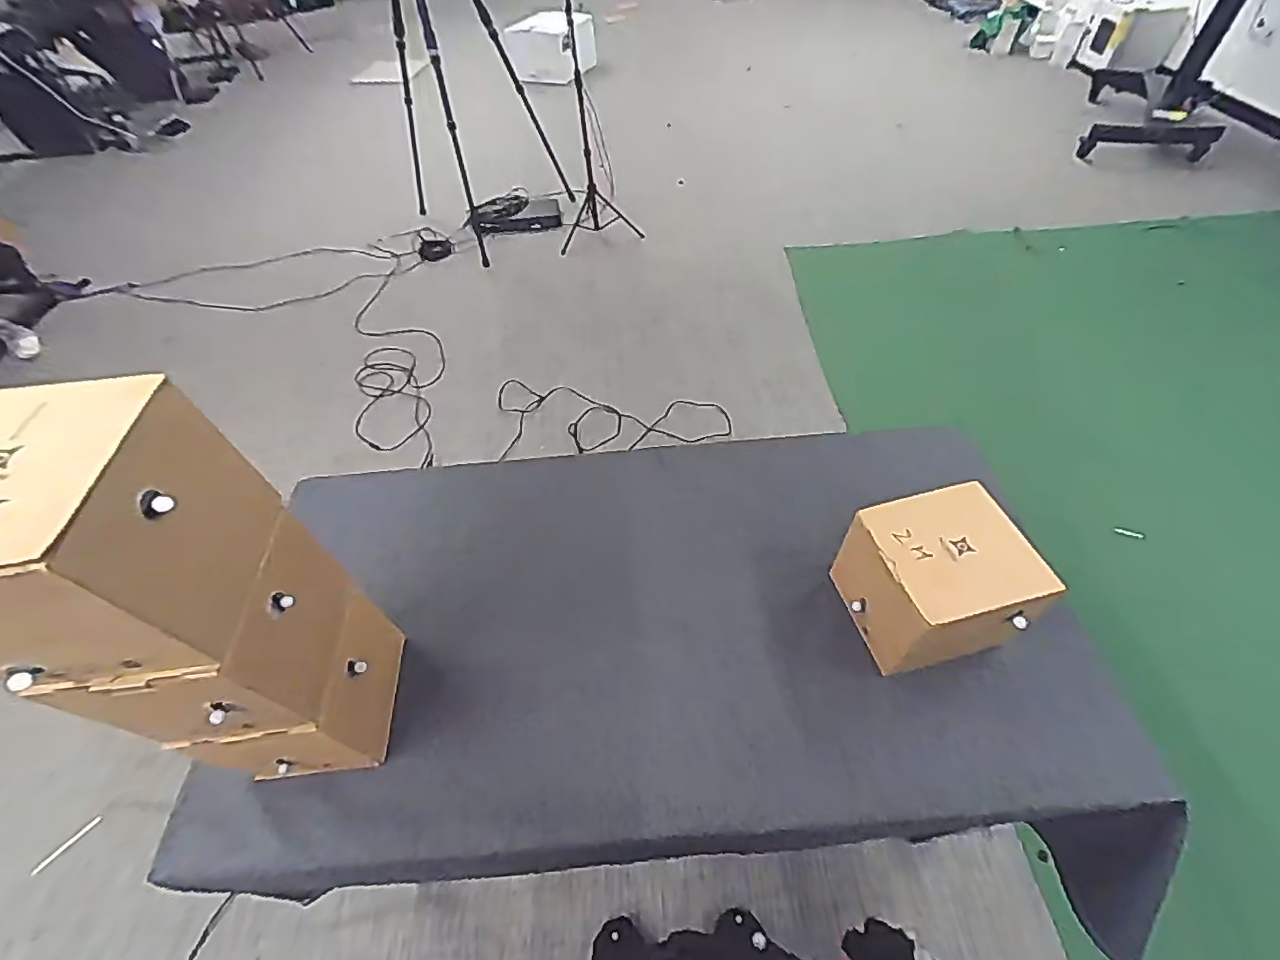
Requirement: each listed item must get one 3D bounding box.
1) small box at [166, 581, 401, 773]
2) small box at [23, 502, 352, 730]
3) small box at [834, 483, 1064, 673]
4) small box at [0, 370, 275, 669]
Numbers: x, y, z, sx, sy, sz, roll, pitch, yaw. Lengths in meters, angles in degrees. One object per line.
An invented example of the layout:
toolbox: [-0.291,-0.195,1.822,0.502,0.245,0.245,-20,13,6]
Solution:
small box: [-0.422,0.250,0.682,0.168,0.176,0.179,-6,52,-1]
small box: [-0.429,0.146,0.557,0.168,0.176,0.179,-5,52,-1]
small box: [0.384,0.132,0.713,0.179,0.176,0.168,-13,52,-5]
small box: [-0.437,0.039,0.433,0.168,0.176,0.179,-6,51,-3]
